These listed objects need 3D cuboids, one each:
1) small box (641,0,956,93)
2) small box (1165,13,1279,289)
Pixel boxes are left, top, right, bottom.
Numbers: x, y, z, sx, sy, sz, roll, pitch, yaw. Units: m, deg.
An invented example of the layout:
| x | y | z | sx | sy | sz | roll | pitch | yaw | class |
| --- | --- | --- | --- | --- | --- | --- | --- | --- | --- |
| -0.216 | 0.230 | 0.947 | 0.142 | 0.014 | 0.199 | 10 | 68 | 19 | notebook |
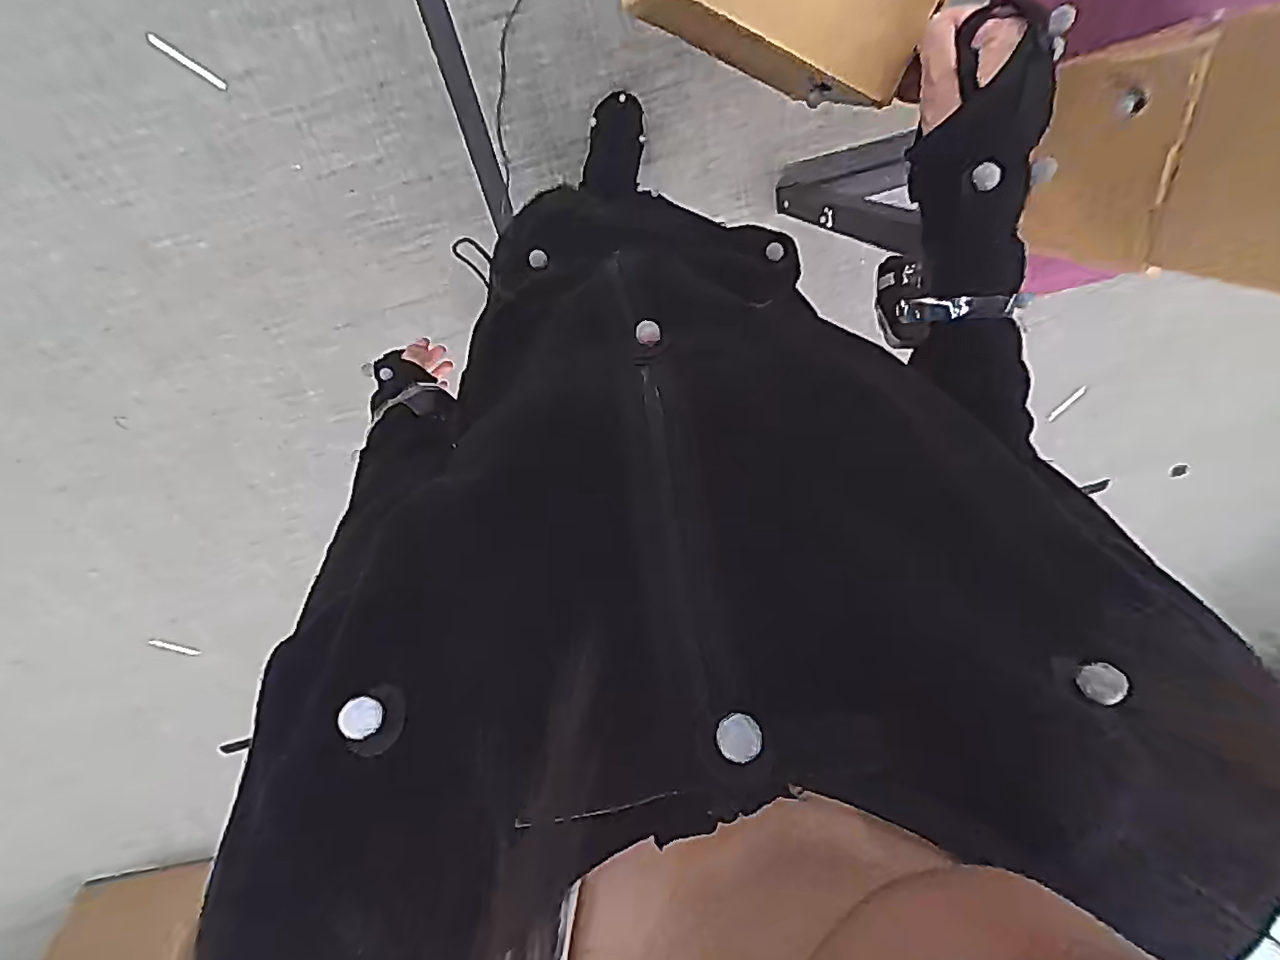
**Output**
| x | y | z | sx | sy | sz | roll | pitch | yaw | class |
| --- | --- | --- | --- | --- | --- | --- | --- | --- | --- |
| 0.110 | -0.379 | 0.351 | 0.179 | 0.176 | 0.168 | 11 | 124 | -19 | small box |
| 0.525 | -0.229 | 0.364 | 0.168 | 0.176 | 0.179 | -13 | 124 | -2 | small box |
